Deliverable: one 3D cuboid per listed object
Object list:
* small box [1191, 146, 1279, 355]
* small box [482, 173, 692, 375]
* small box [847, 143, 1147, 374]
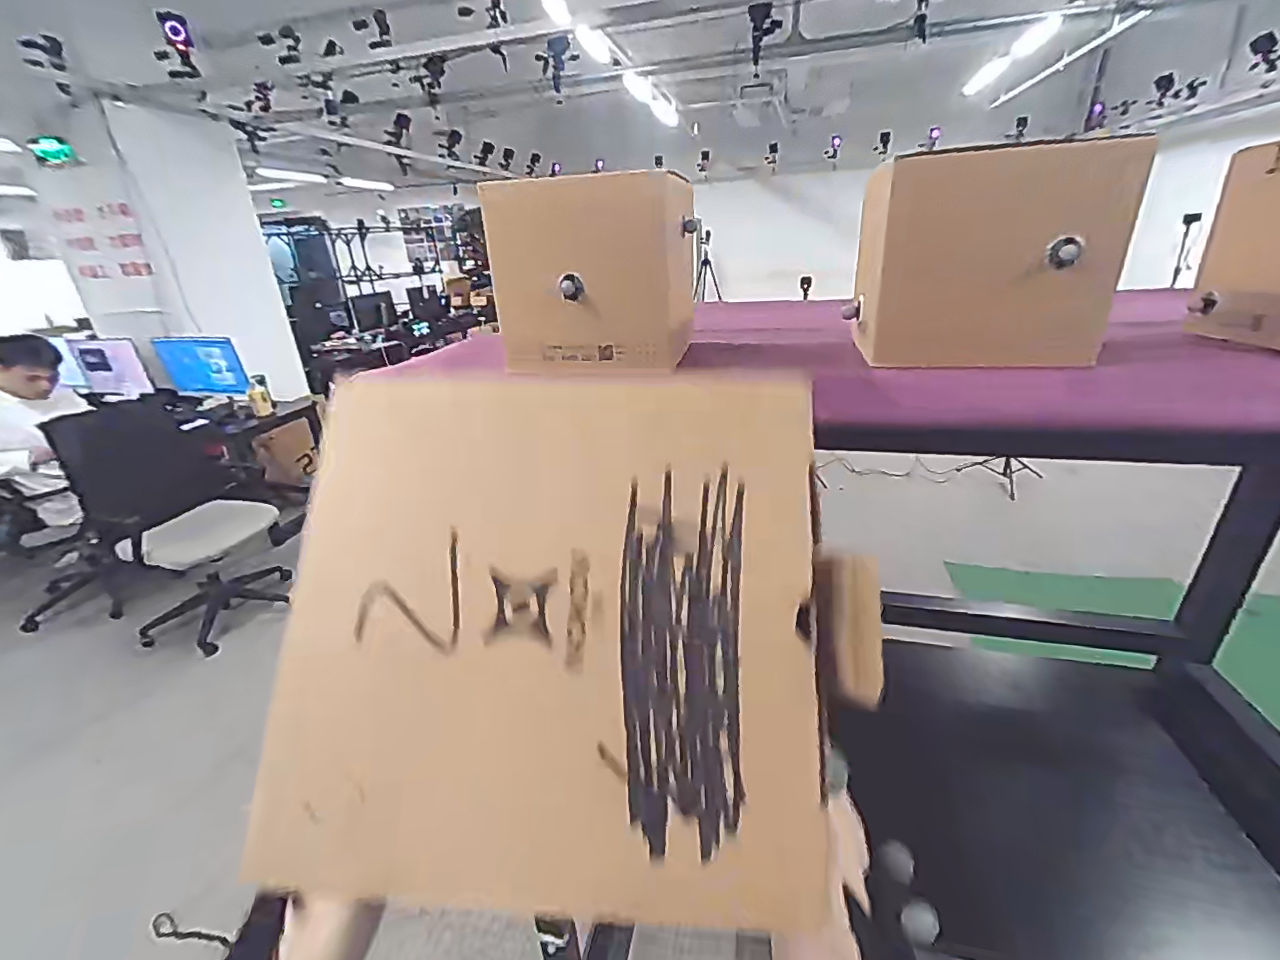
[{"bbox_3d":[0.620,-0.196,0.450,0.179,0.176,0.168,4,22,16],"label":"small box"},{"bbox_3d":[-0.037,-0.208,0.558,0.168,0.176,0.179,3,25,12],"label":"small box"},{"bbox_3d":[0.301,-0.199,0.505,0.179,0.176,0.168,2,23,13],"label":"small box"}]
